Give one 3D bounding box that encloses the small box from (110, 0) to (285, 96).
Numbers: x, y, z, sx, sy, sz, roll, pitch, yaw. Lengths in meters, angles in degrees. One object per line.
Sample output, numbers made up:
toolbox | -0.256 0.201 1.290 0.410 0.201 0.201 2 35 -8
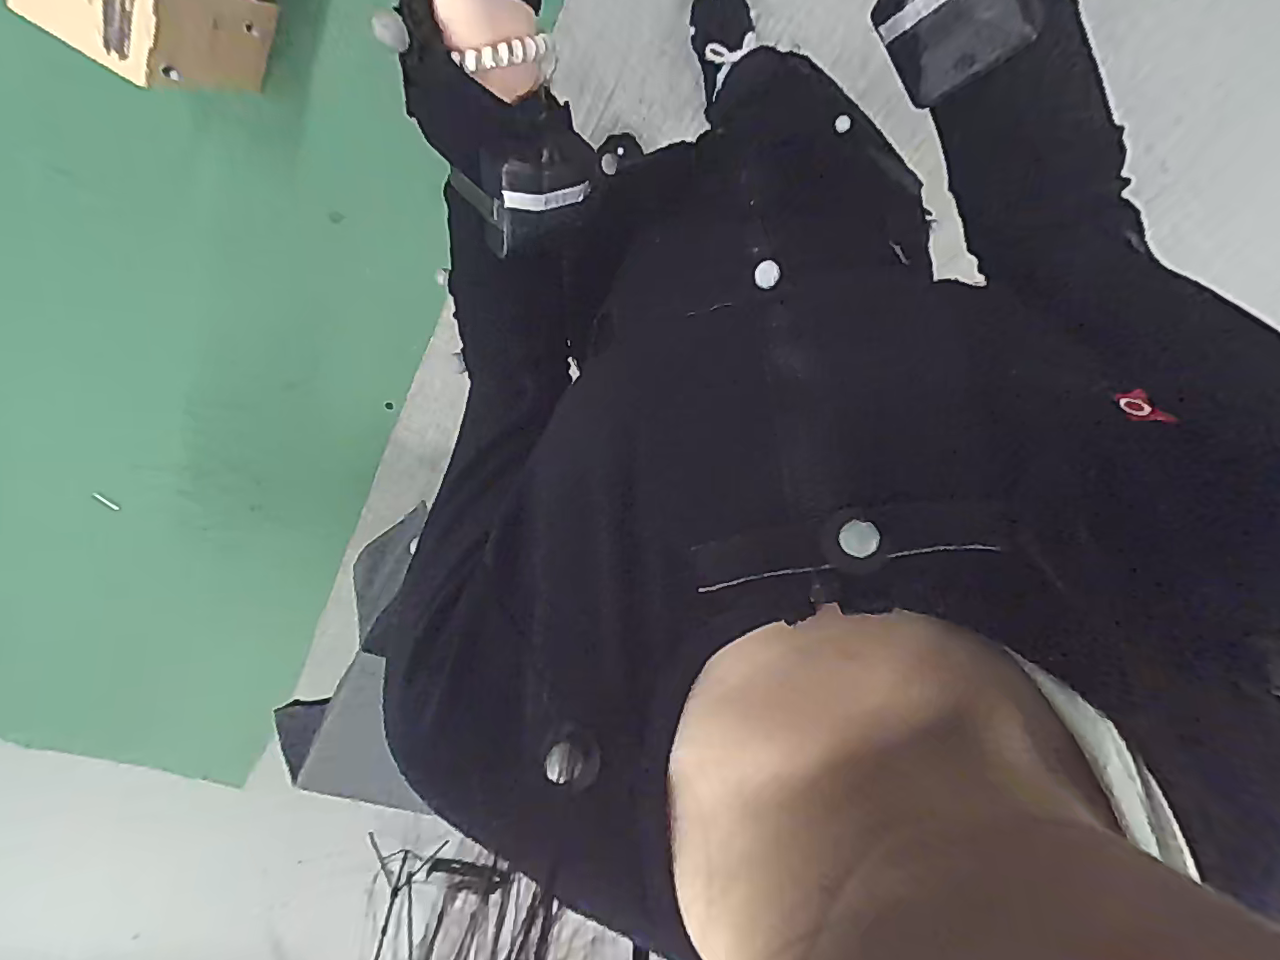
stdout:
small box | -0.787 -0.838 0.978 0.179 0.176 0.168 30 119 -21
